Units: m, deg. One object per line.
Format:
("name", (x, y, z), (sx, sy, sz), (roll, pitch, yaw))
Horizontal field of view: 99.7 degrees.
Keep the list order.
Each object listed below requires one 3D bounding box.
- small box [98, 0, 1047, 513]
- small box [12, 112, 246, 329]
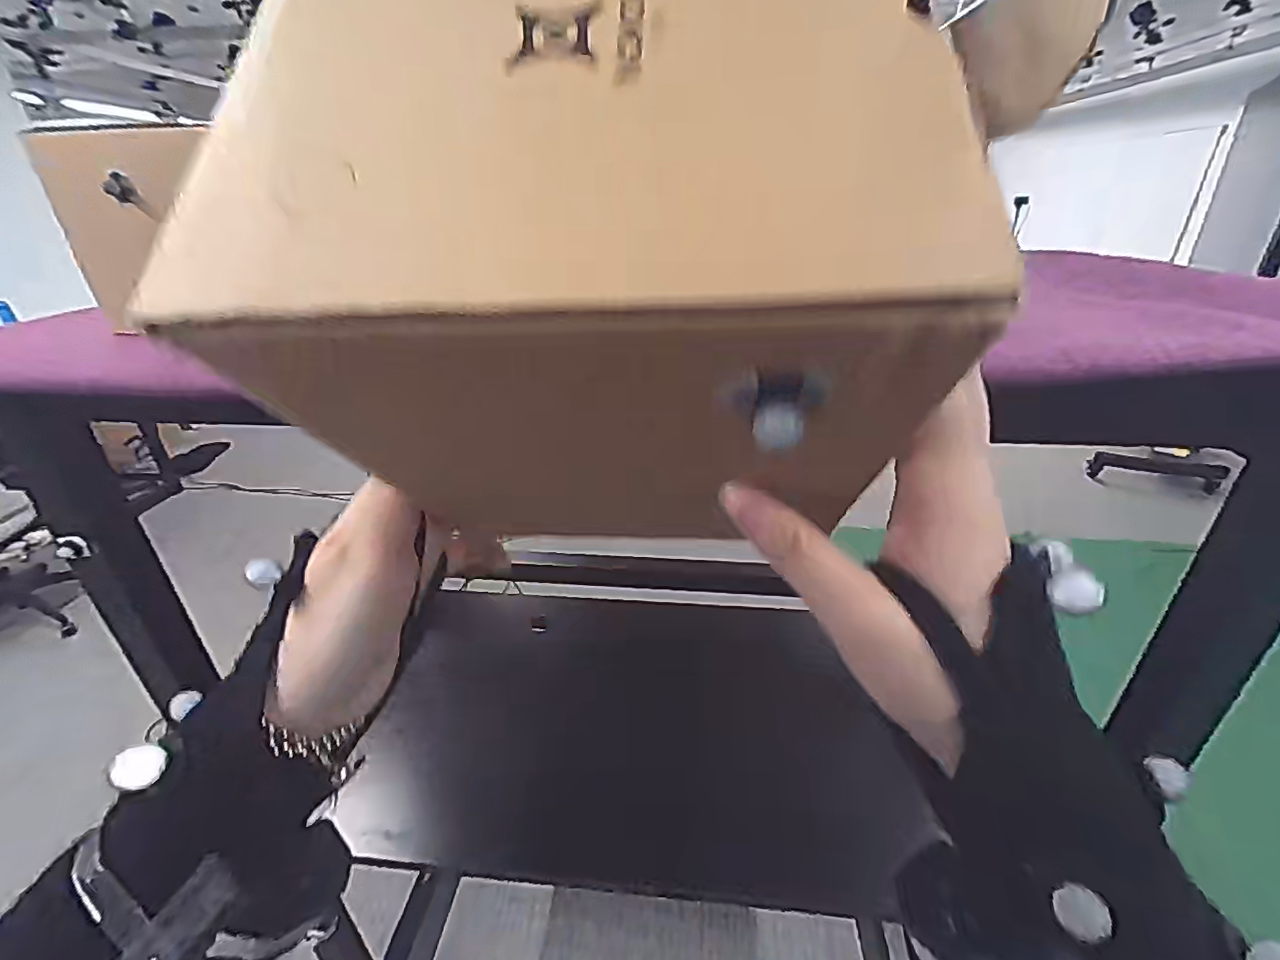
("small box", (-0.009, -0.089, 0.198), (0.179, 0.176, 0.168), (0, 70, 5))
("small box", (-0.415, -0.249, 0.534), (0.179, 0.176, 0.168), (2, 29, 5))
